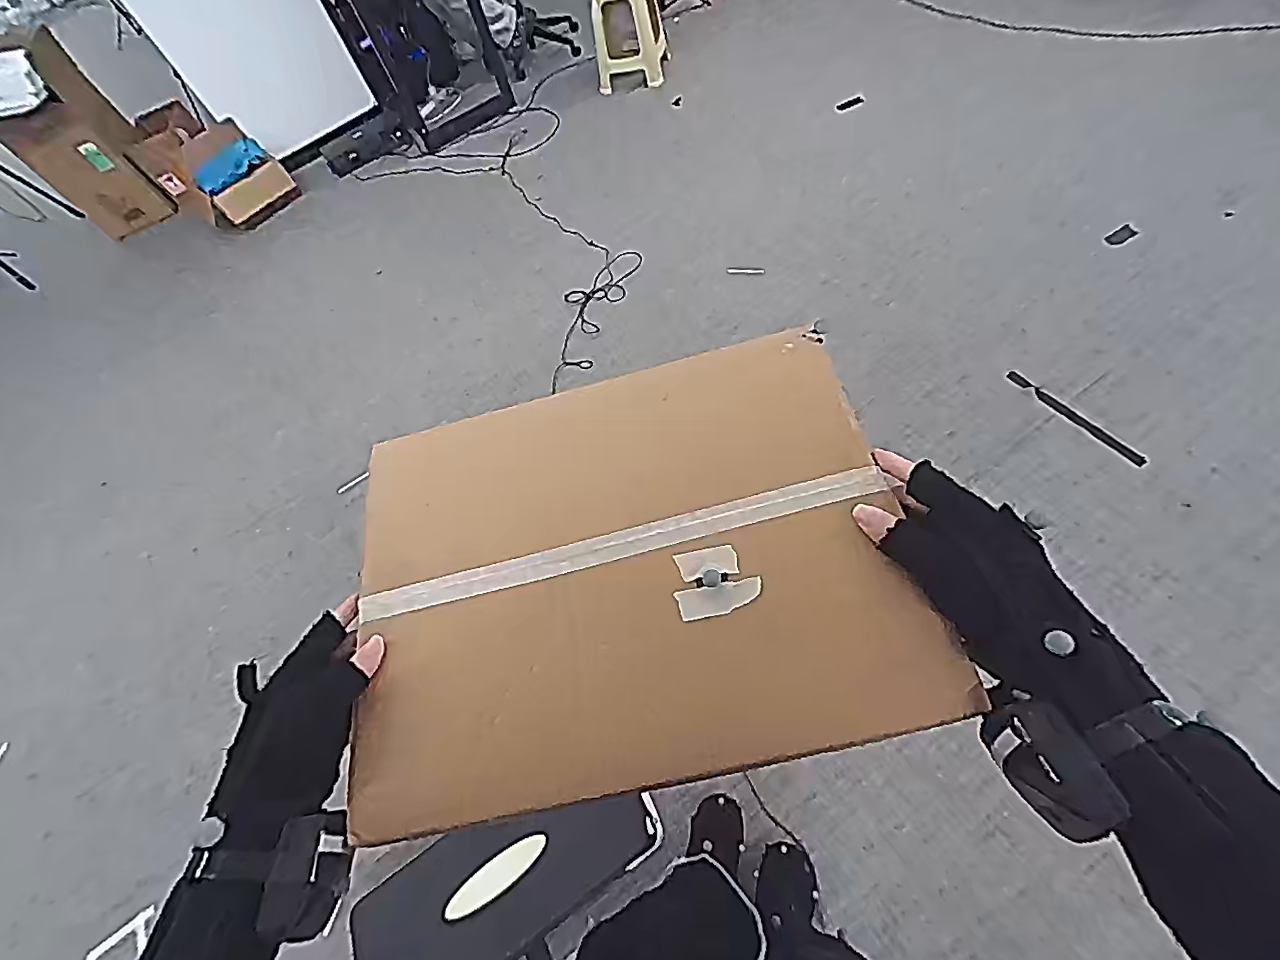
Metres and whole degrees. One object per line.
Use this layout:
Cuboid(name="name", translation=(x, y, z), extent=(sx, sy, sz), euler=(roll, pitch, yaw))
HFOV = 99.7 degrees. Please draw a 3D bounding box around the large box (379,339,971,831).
Cuboid(name="large box", translation=(0.014, 0.122, 0.548), extent=(0.408, 0.320, 0.320), euler=(-14, 61, 4))
